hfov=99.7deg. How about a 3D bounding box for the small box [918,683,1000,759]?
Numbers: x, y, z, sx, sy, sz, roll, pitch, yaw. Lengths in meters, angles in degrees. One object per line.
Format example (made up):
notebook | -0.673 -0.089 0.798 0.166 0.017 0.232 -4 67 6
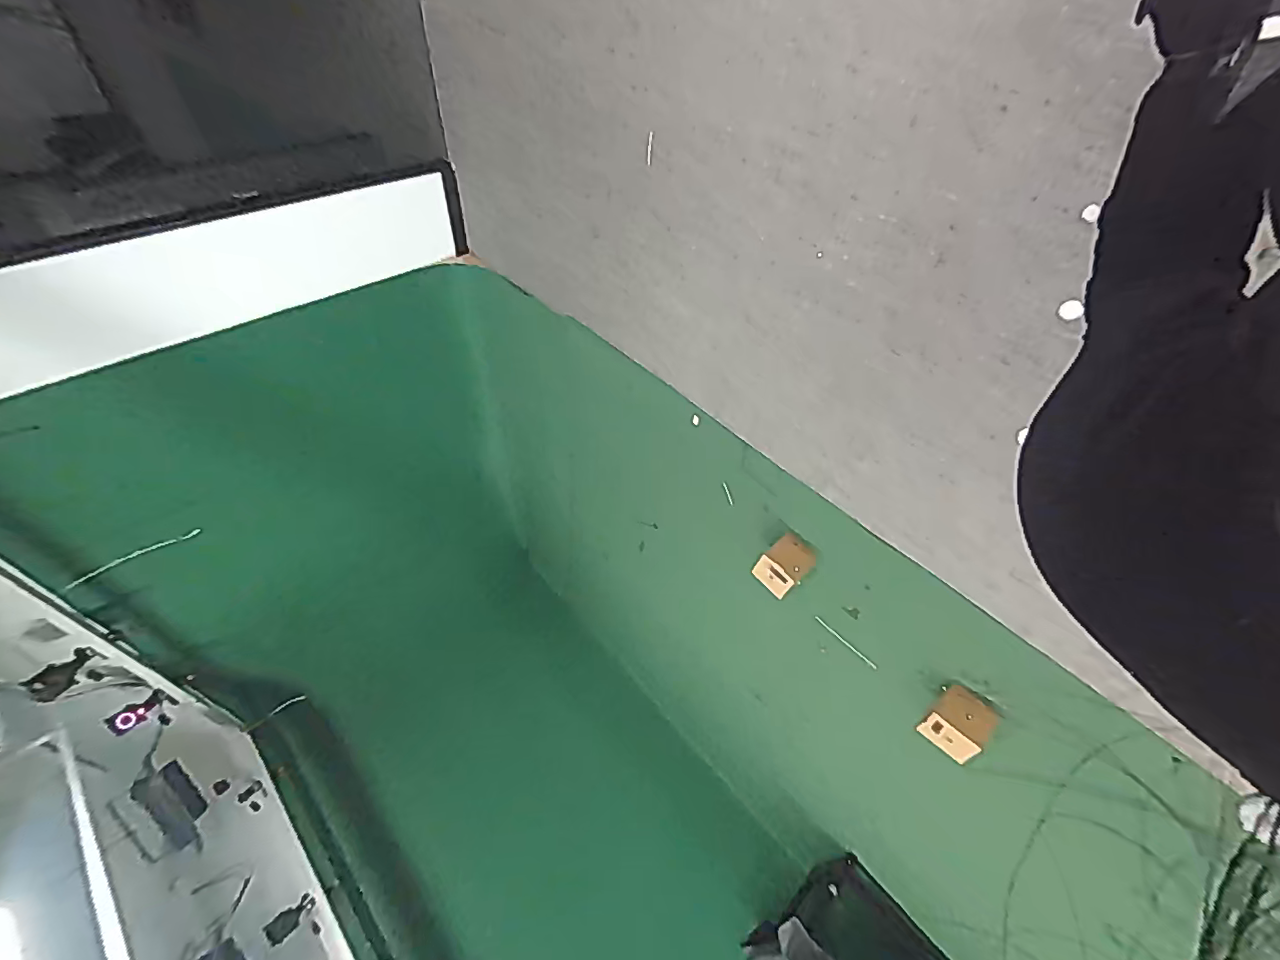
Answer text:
small box | 1.173 0.875 1.987 0.179 0.176 0.168 37 146 27
